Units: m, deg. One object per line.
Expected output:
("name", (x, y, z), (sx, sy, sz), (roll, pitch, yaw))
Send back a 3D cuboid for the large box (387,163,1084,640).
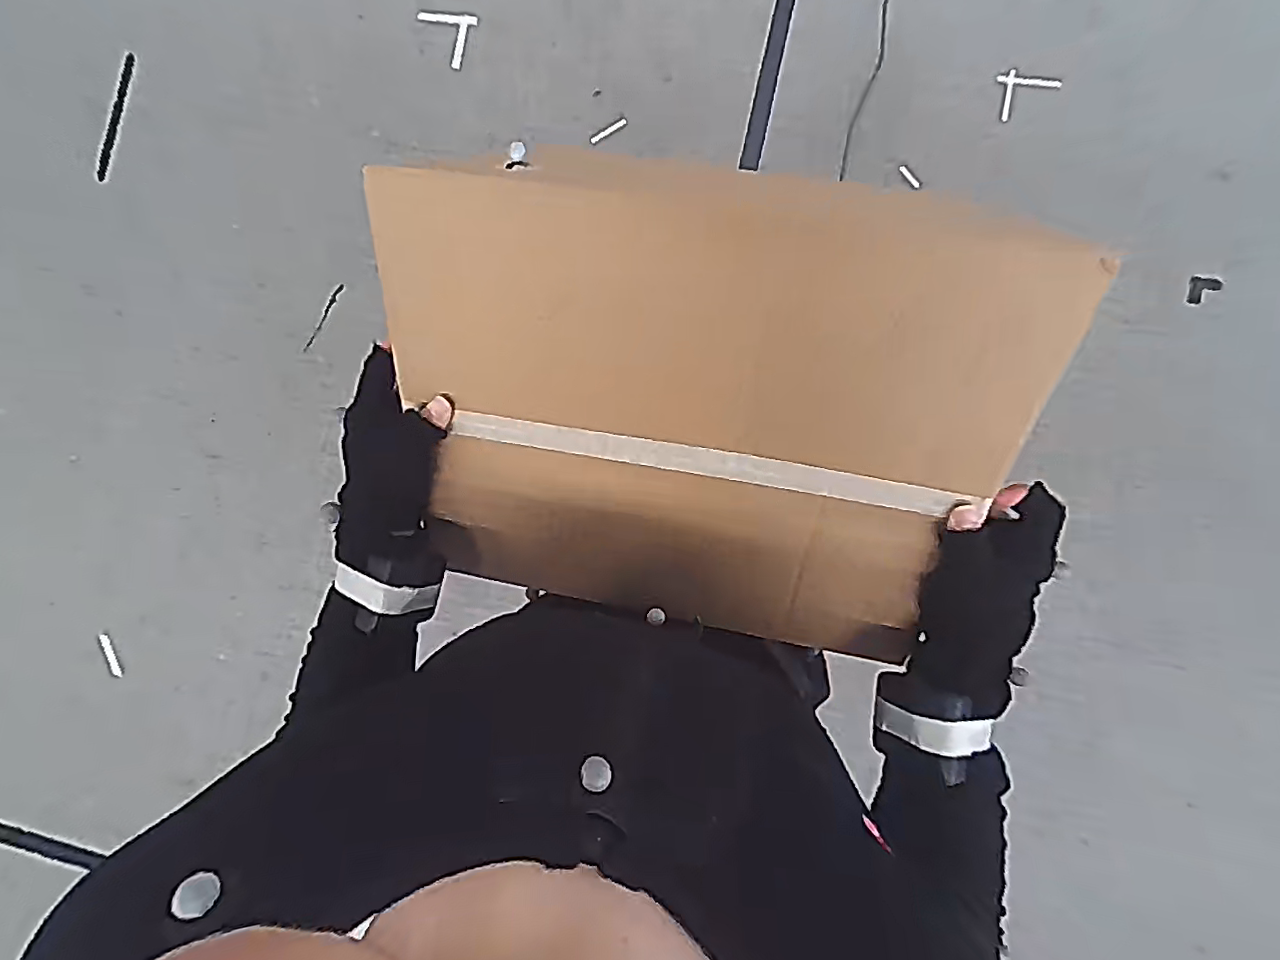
("large box", (0.054, -0.104, 0.508), (0.408, 0.320, 0.320), (10, 125, 7))
